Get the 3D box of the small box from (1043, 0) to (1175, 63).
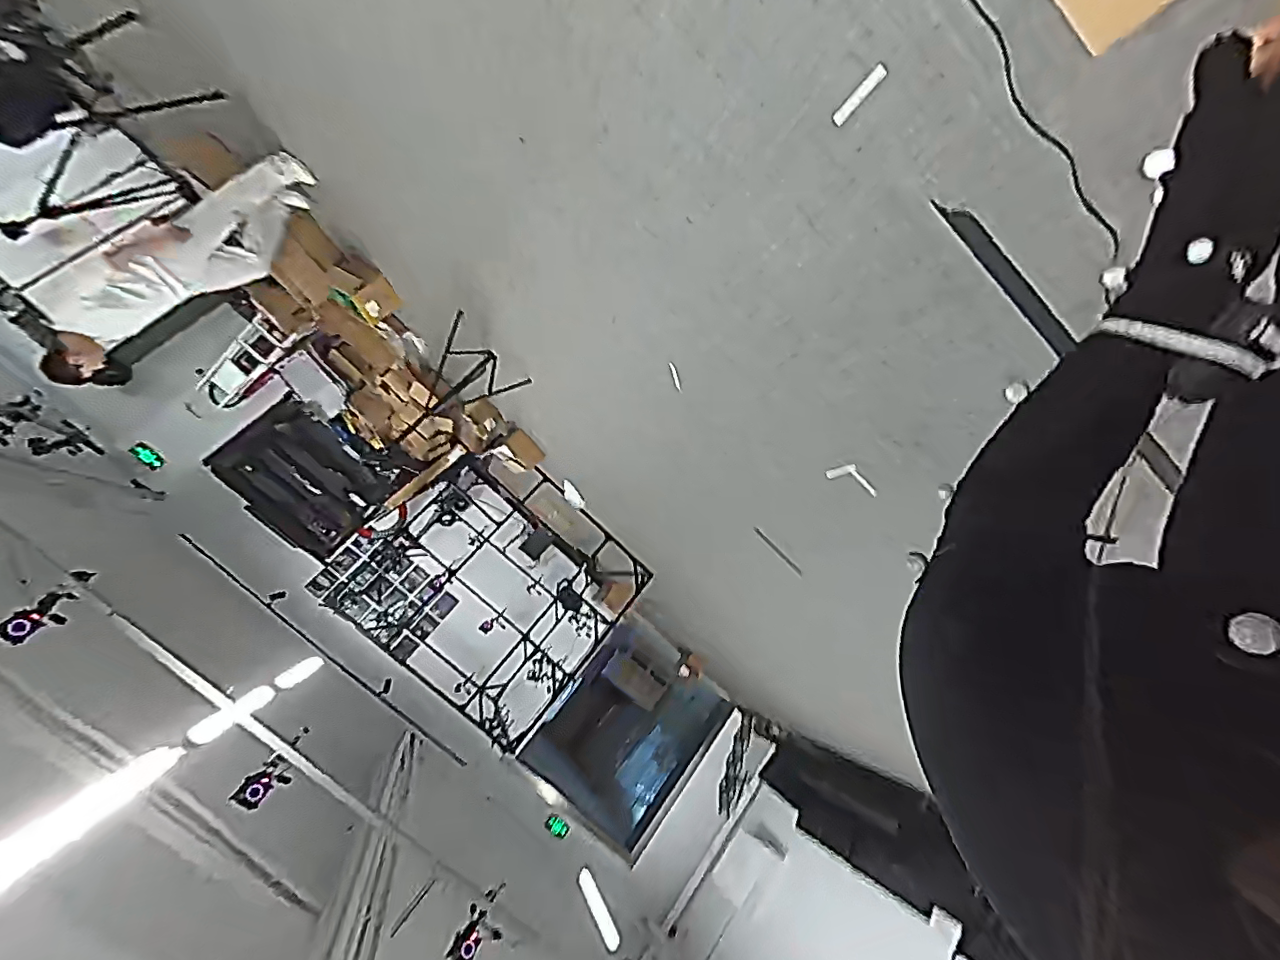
[{"bbox_3d":[0.630,-0.694,0.677,0.179,0.176,0.168,44,161,-11],"label":"small box"}]
